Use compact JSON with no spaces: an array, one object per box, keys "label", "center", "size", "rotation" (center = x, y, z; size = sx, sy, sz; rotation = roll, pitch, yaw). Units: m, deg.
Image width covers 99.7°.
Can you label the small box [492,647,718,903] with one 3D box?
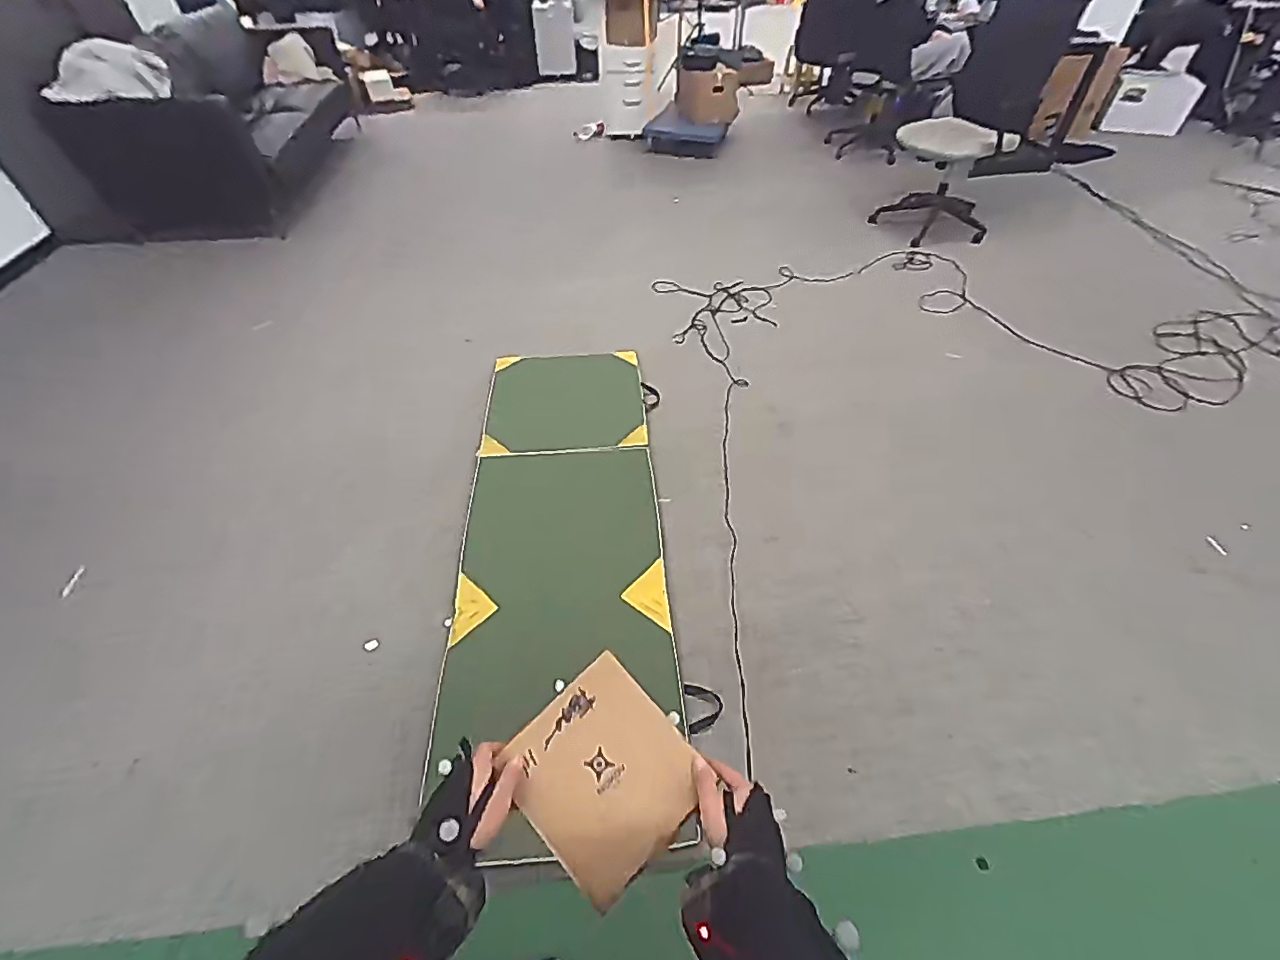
[{"label":"small box","center":[-0.036,0.320,0.622],"size":[0.168,0.176,0.179],"rotation":[-40,72,-16]}]
